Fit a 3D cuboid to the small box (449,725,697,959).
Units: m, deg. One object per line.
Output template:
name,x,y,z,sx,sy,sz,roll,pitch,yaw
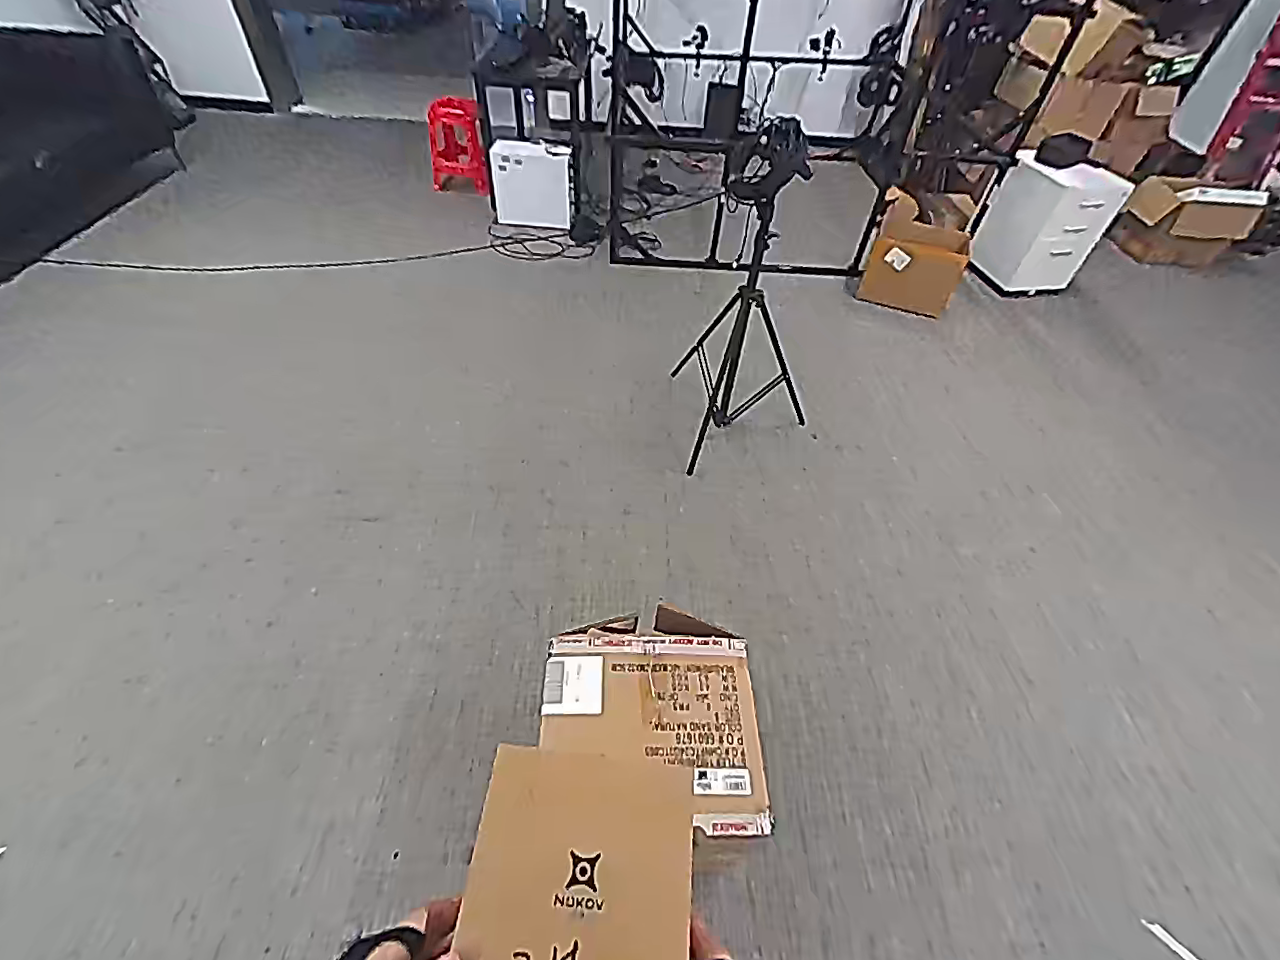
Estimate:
small box,-0.049,0.333,0.465,0.168,0.176,0.179,8,53,0
